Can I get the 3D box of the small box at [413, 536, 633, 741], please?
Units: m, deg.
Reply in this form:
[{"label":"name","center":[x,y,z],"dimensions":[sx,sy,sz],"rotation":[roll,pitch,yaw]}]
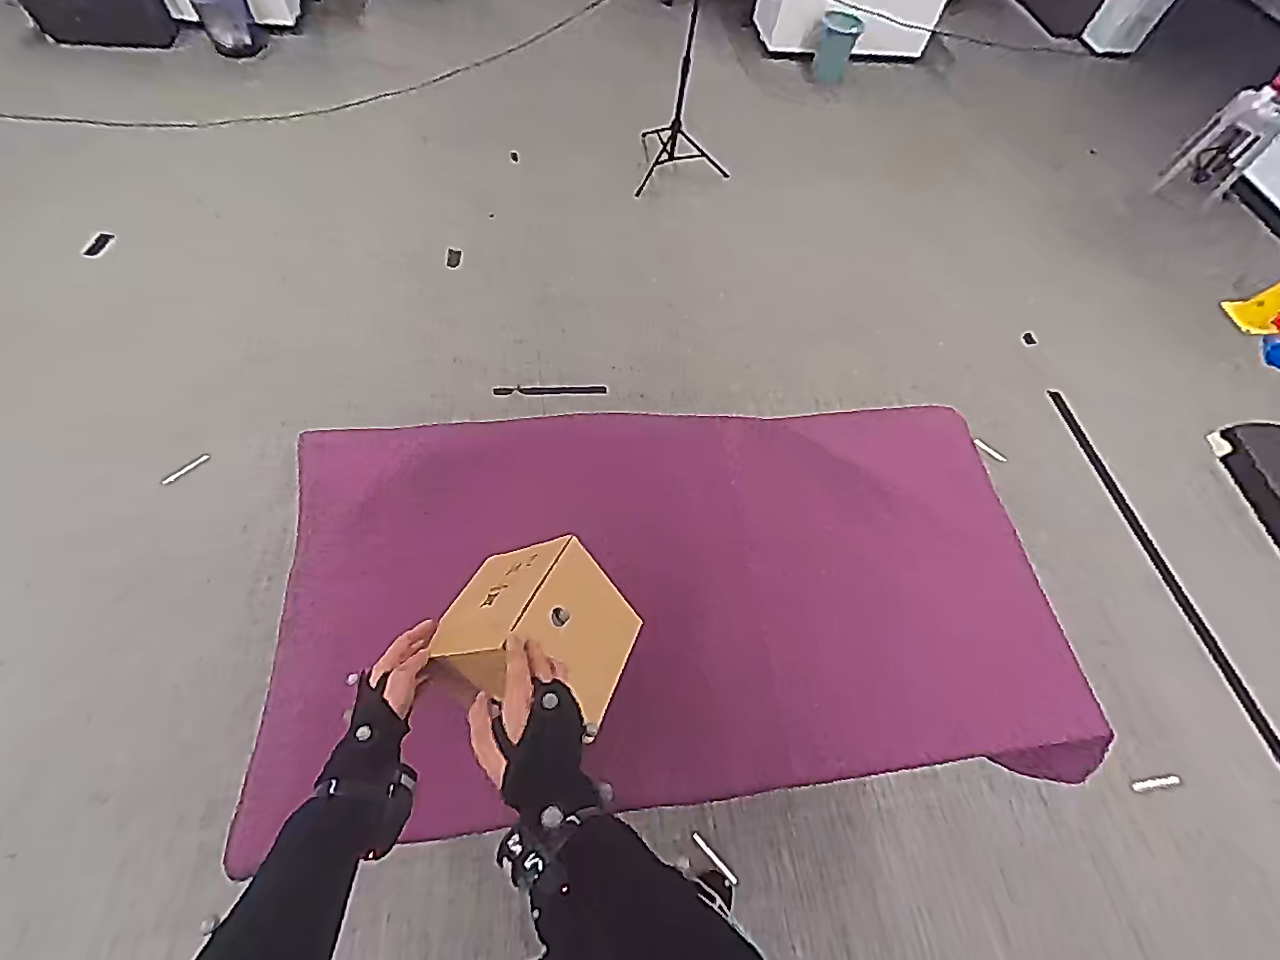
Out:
[{"label":"small box","center":[-0.133,0.200,0.675],"dimensions":[0.176,0.168,0.179],"rotation":[56,39,-23]}]
